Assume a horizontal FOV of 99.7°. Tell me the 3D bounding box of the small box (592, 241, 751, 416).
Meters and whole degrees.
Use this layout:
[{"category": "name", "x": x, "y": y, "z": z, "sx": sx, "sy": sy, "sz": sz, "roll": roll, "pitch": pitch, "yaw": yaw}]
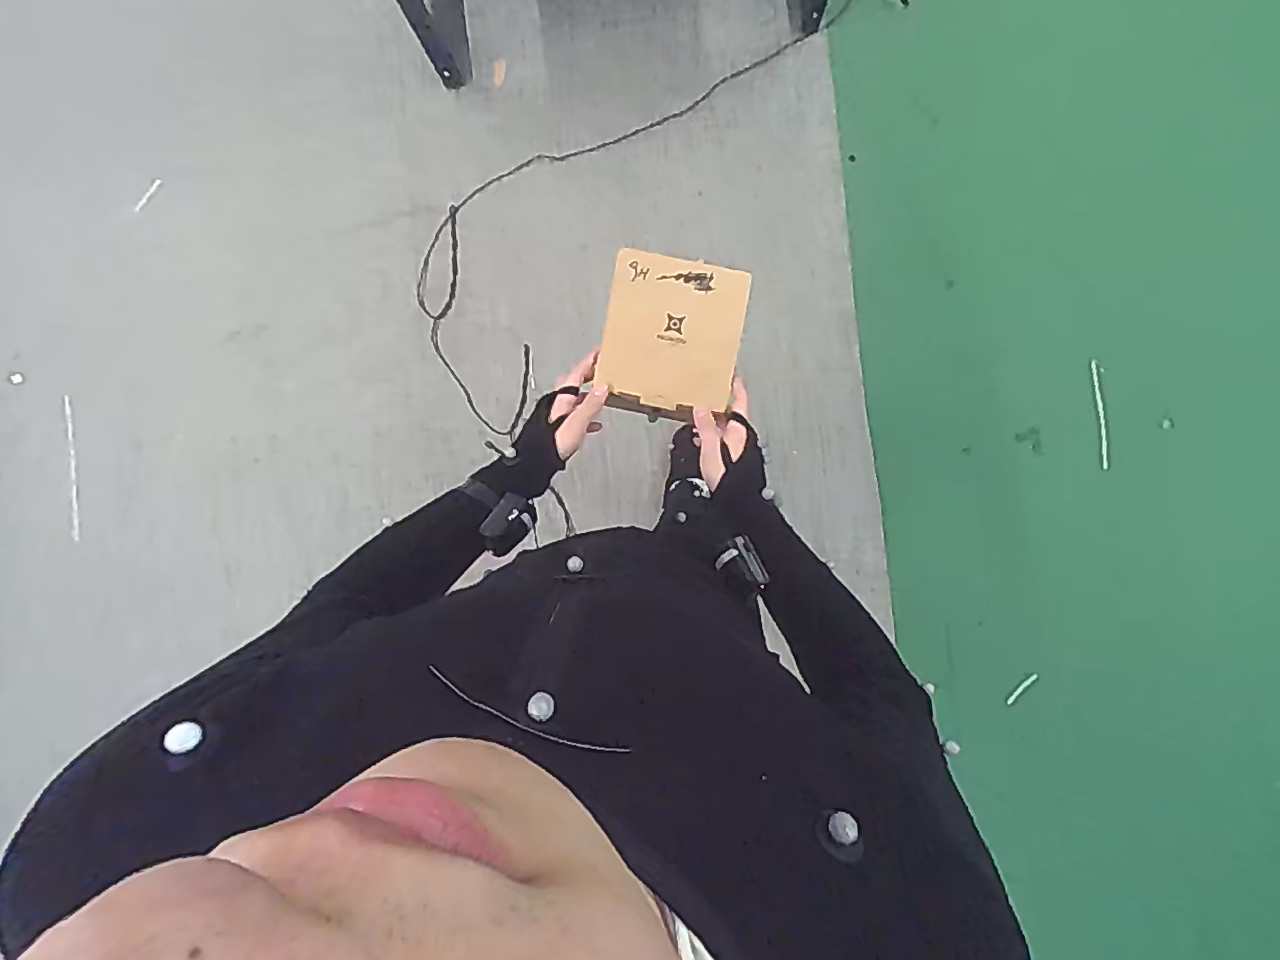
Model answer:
[{"category": "small box", "x": 0.037, "y": -0.187, "z": 0.726, "sx": 0.168, "sy": 0.176, "sz": 0.179, "roll": 11, "pitch": 92, "yaw": -2}]
